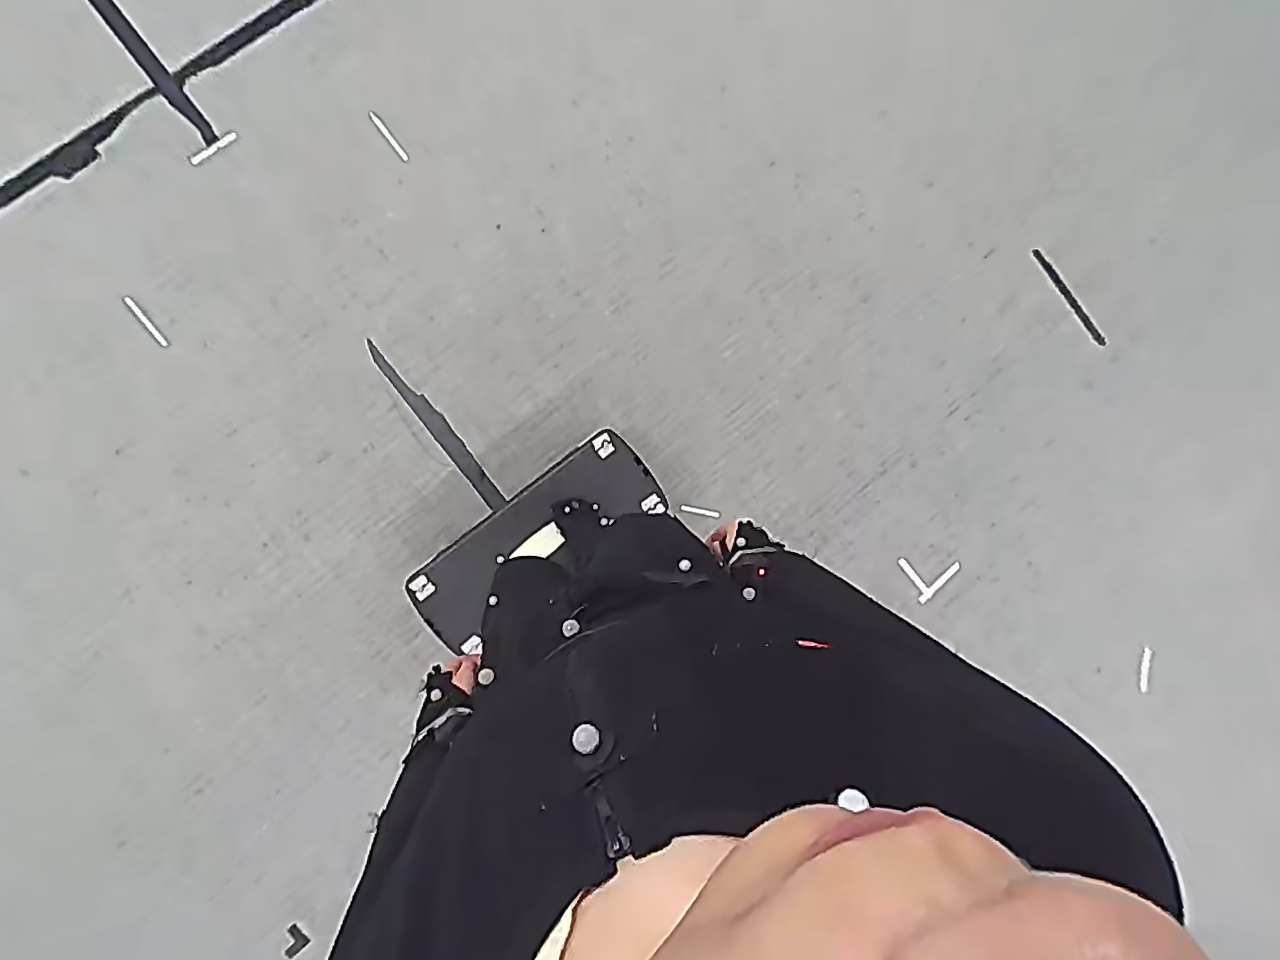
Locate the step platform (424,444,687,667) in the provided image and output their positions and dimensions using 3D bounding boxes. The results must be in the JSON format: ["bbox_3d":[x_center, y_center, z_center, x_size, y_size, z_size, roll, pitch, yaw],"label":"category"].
[{"bbox_3d":[-0.214,0.187,1.441,0.684,0.204,0.286,-34,92,-8],"label":"step platform"}]
